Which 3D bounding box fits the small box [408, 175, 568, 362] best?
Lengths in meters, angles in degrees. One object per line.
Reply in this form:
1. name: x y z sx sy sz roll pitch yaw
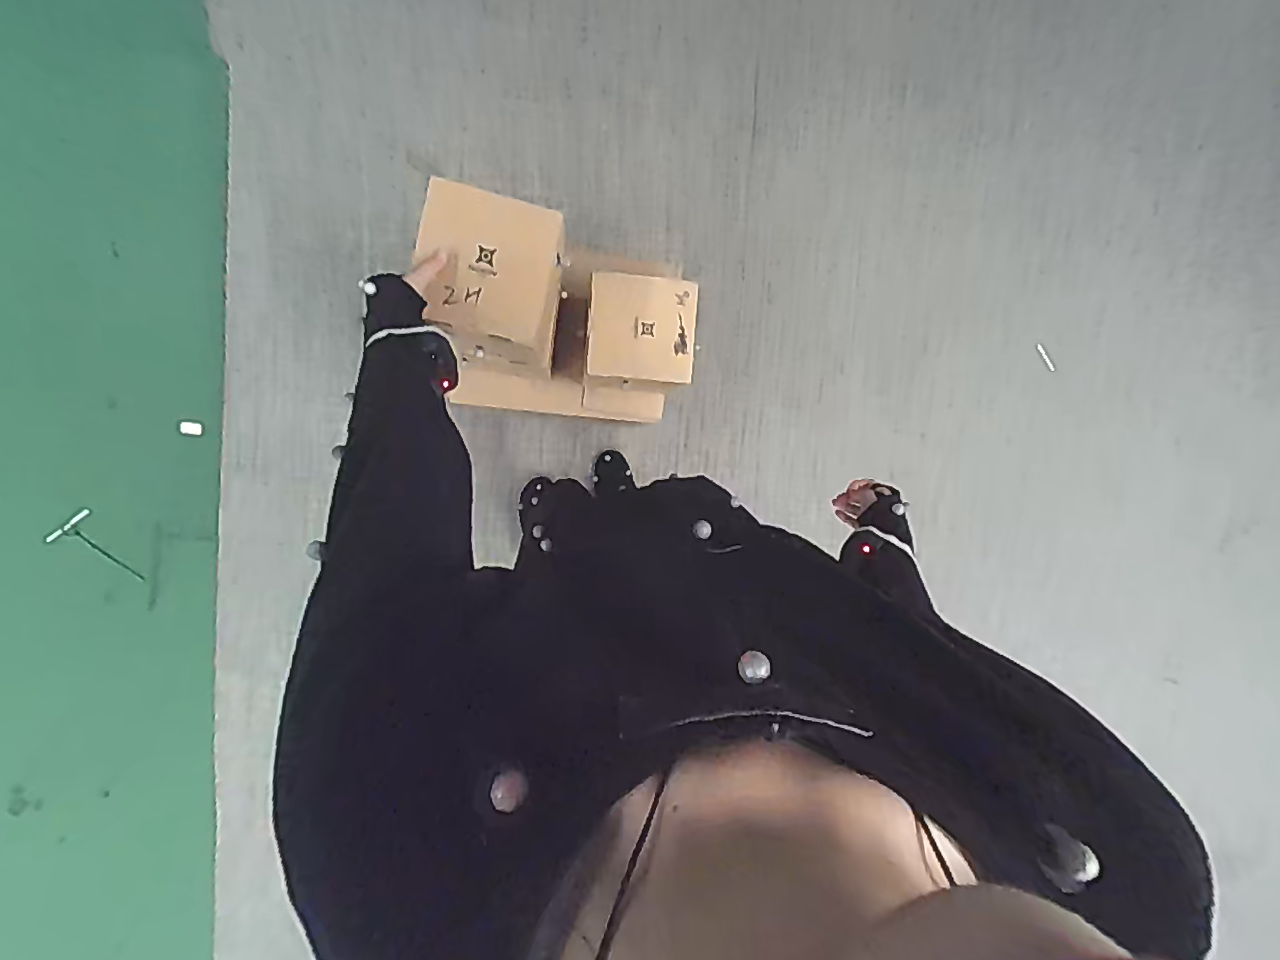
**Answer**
1. small box: -0.200 -0.278 0.755 0.168 0.176 0.179 13 92 -7
